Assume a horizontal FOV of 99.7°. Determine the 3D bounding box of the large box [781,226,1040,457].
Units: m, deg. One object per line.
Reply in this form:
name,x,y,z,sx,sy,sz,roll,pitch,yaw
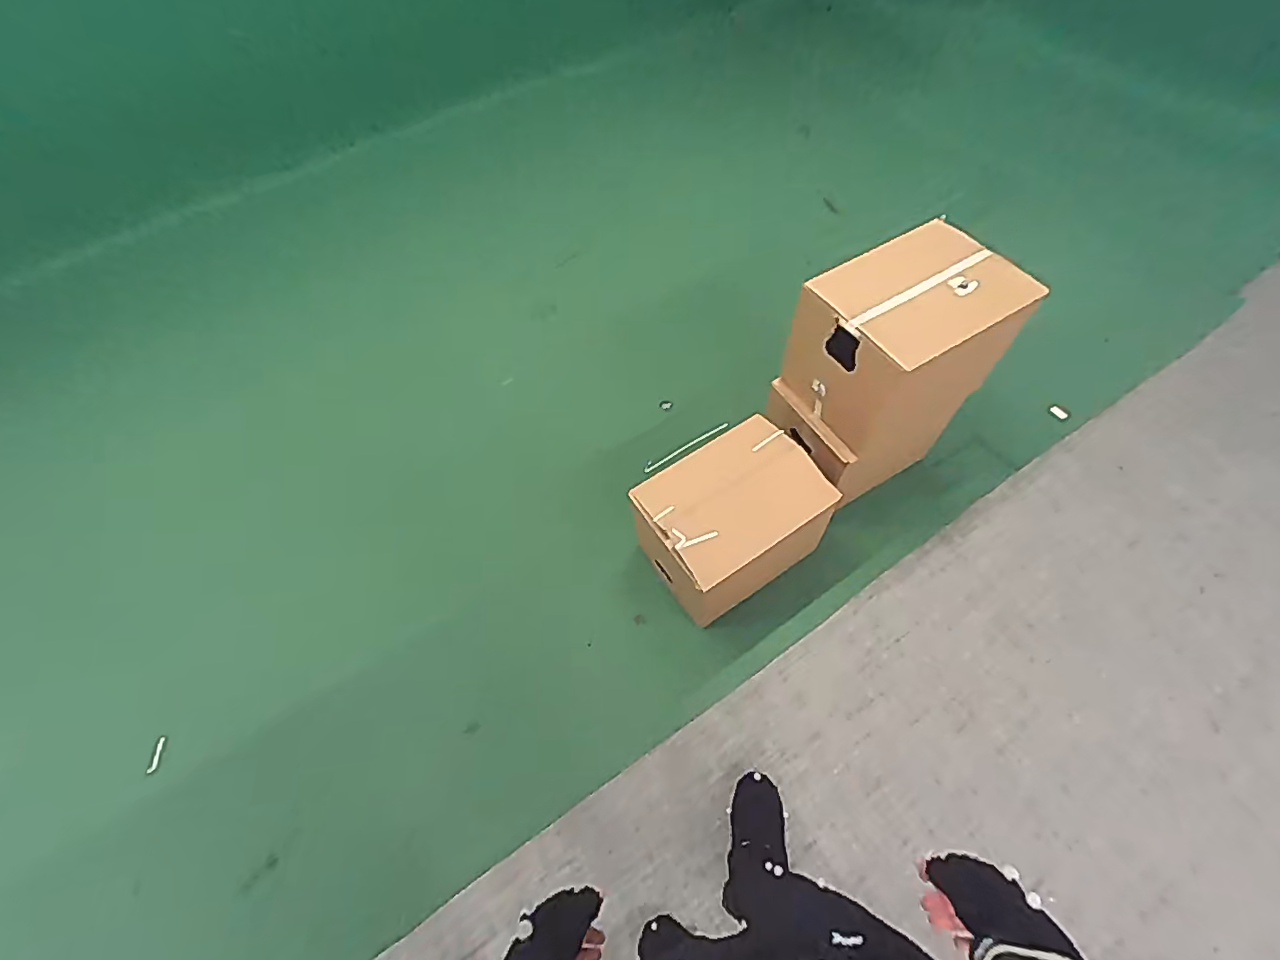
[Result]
large box,0.609,-0.325,1.290,0.408,0.320,0.320,-28,62,-14
